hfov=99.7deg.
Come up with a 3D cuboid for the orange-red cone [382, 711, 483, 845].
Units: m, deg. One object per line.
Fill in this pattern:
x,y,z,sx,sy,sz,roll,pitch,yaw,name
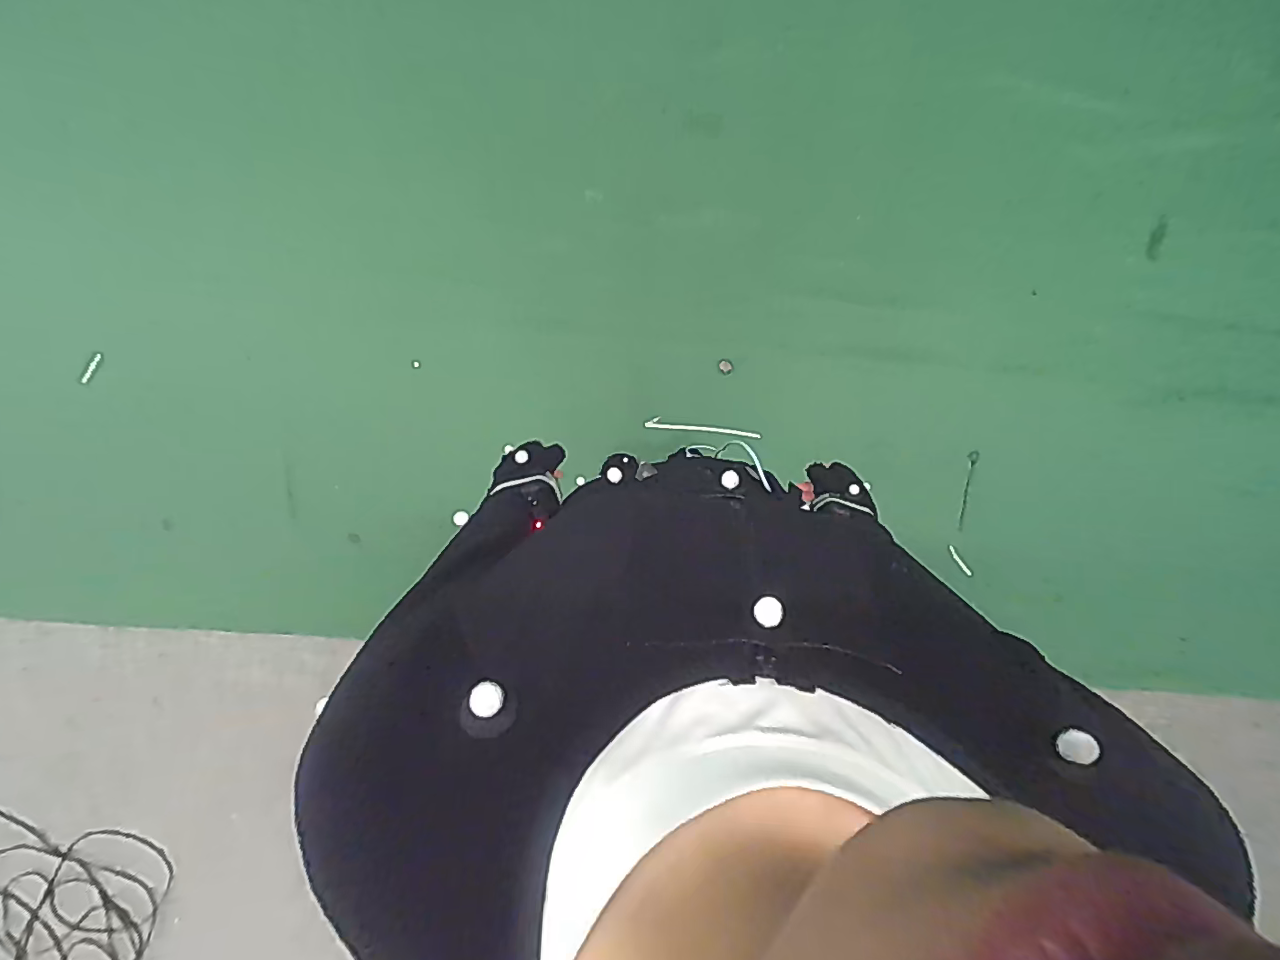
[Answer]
-0.534,0.754,1.328,0.198,0.360,0.199,5,94,-1,orange-red cone
